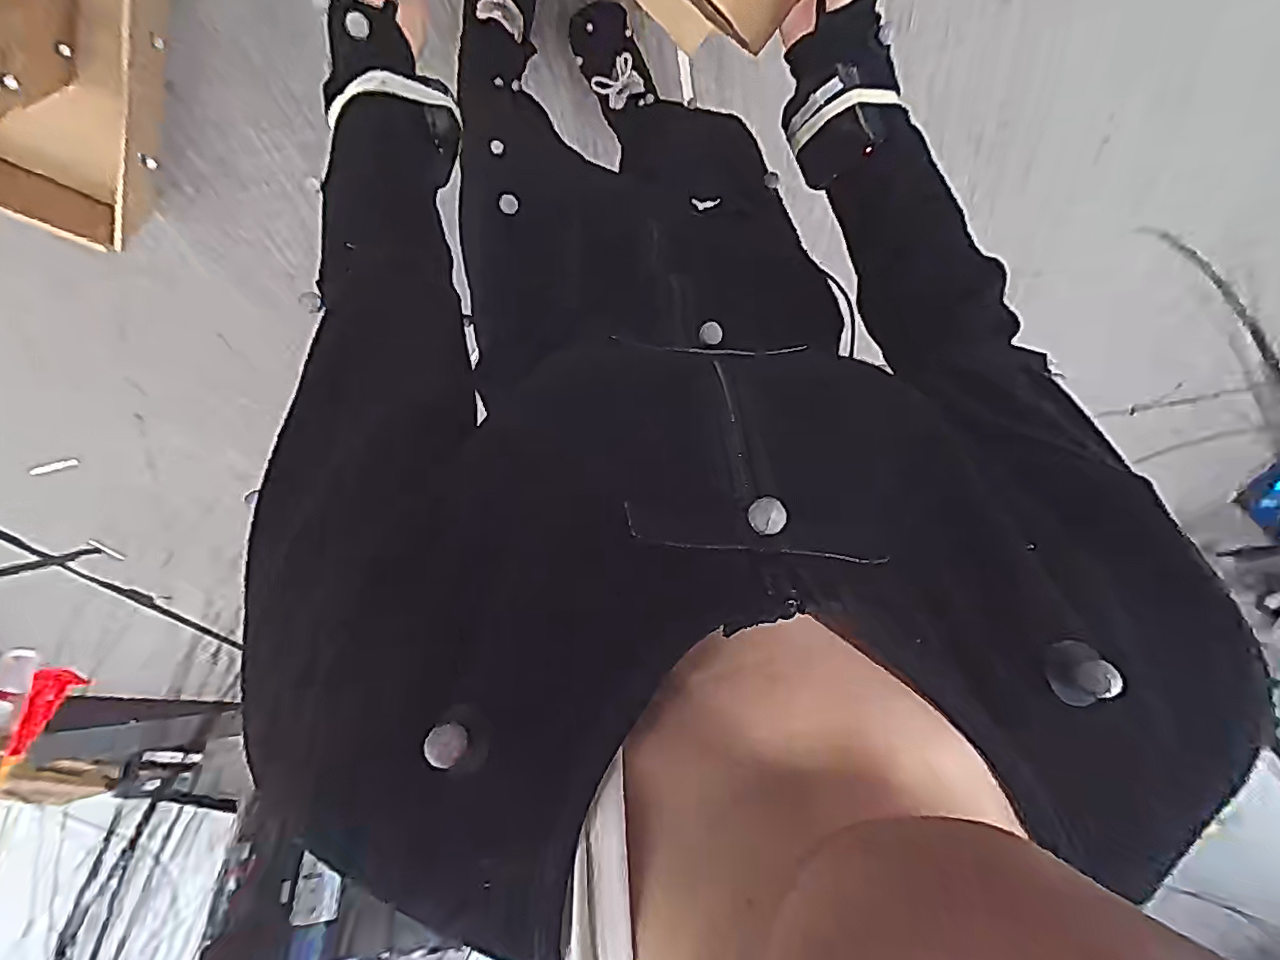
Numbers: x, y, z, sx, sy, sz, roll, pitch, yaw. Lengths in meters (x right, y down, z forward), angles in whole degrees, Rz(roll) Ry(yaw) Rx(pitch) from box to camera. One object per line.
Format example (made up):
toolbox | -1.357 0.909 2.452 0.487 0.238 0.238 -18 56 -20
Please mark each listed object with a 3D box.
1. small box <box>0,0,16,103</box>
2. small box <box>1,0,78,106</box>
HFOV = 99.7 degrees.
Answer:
small box | -0.976 -0.591 0.697 0.179 0.176 0.168 21 132 -33
small box | -0.999 -0.713 0.802 0.179 0.176 0.168 22 131 -34
